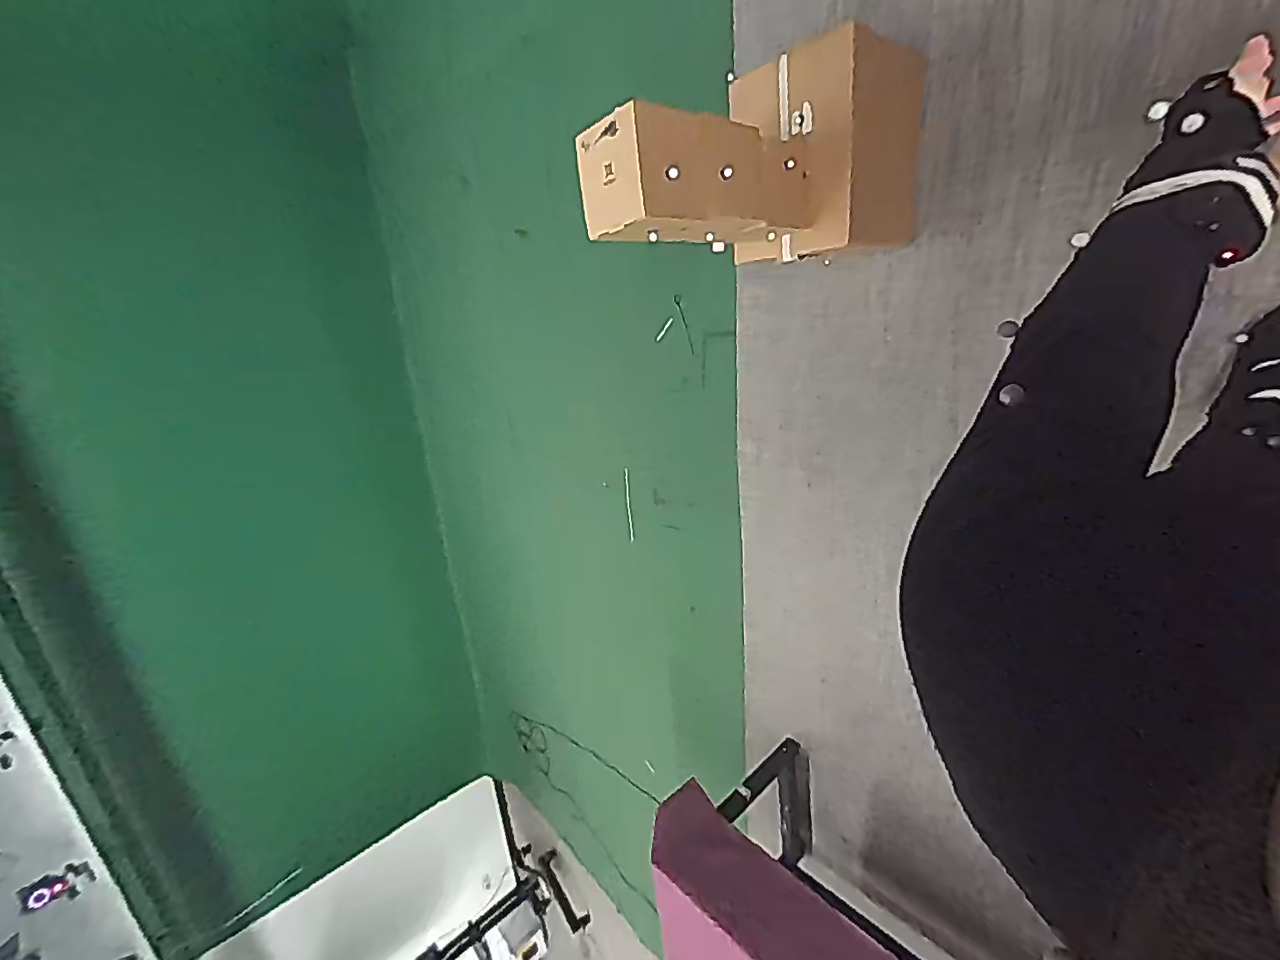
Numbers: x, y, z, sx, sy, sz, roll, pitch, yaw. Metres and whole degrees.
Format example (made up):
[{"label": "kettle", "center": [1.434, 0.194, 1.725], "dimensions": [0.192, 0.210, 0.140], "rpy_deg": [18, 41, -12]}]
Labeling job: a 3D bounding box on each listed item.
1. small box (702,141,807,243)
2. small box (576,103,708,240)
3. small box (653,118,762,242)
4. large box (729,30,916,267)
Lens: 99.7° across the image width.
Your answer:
[{"label": "small box", "center": [0.251, -0.622, 1.189], "dimensions": [0.179, 0.176, 0.168], "rpy_deg": [13, 114, 48]}, {"label": "small box", "center": [0.008, -0.545, 0.981], "dimensions": [0.168, 0.176, 0.179], "rpy_deg": [10, 112, 48]}, {"label": "small box", "center": [0.129, -0.588, 1.084], "dimensions": [0.168, 0.176, 0.179], "rpy_deg": [7, 109, 48]}, {"label": "large box", "center": [0.437, -0.748, 1.307], "dimensions": [0.320, 0.320, 0.408], "rpy_deg": [14, 114, 46]}]
